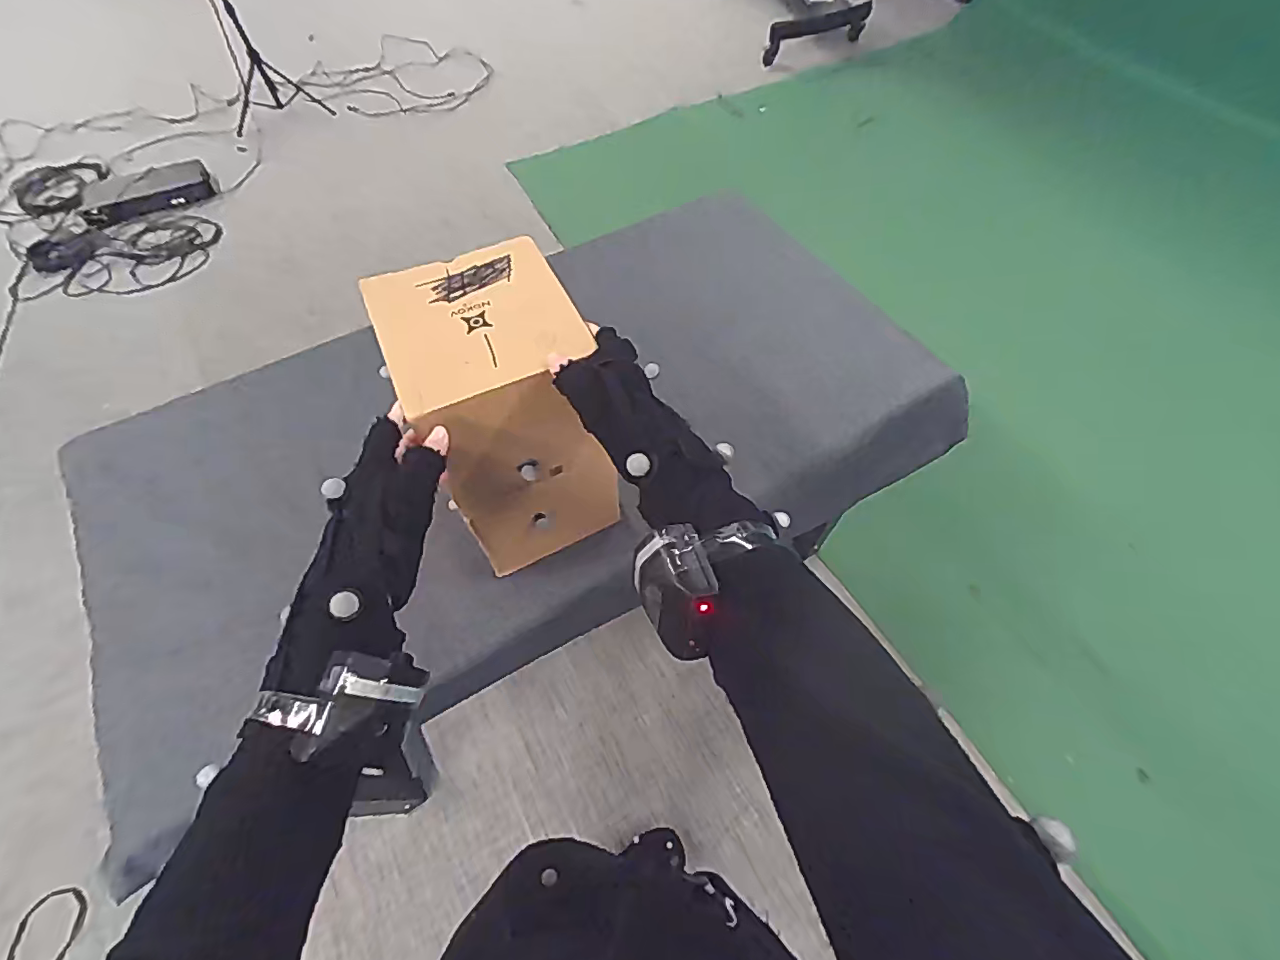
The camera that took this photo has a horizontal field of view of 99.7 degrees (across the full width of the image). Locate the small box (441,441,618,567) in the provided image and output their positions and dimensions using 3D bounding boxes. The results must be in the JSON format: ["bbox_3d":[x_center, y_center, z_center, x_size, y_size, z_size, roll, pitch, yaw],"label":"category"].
[{"bbox_3d":[-0.141,-0.017,0.676,0.179,0.176,0.168,-26,62,-13],"label":"small box"}]

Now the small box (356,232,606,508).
[{"bbox_3d":[-0.146,-0.104,0.536,0.168,0.176,0.179,-26,61,-14],"label":"small box"}]
